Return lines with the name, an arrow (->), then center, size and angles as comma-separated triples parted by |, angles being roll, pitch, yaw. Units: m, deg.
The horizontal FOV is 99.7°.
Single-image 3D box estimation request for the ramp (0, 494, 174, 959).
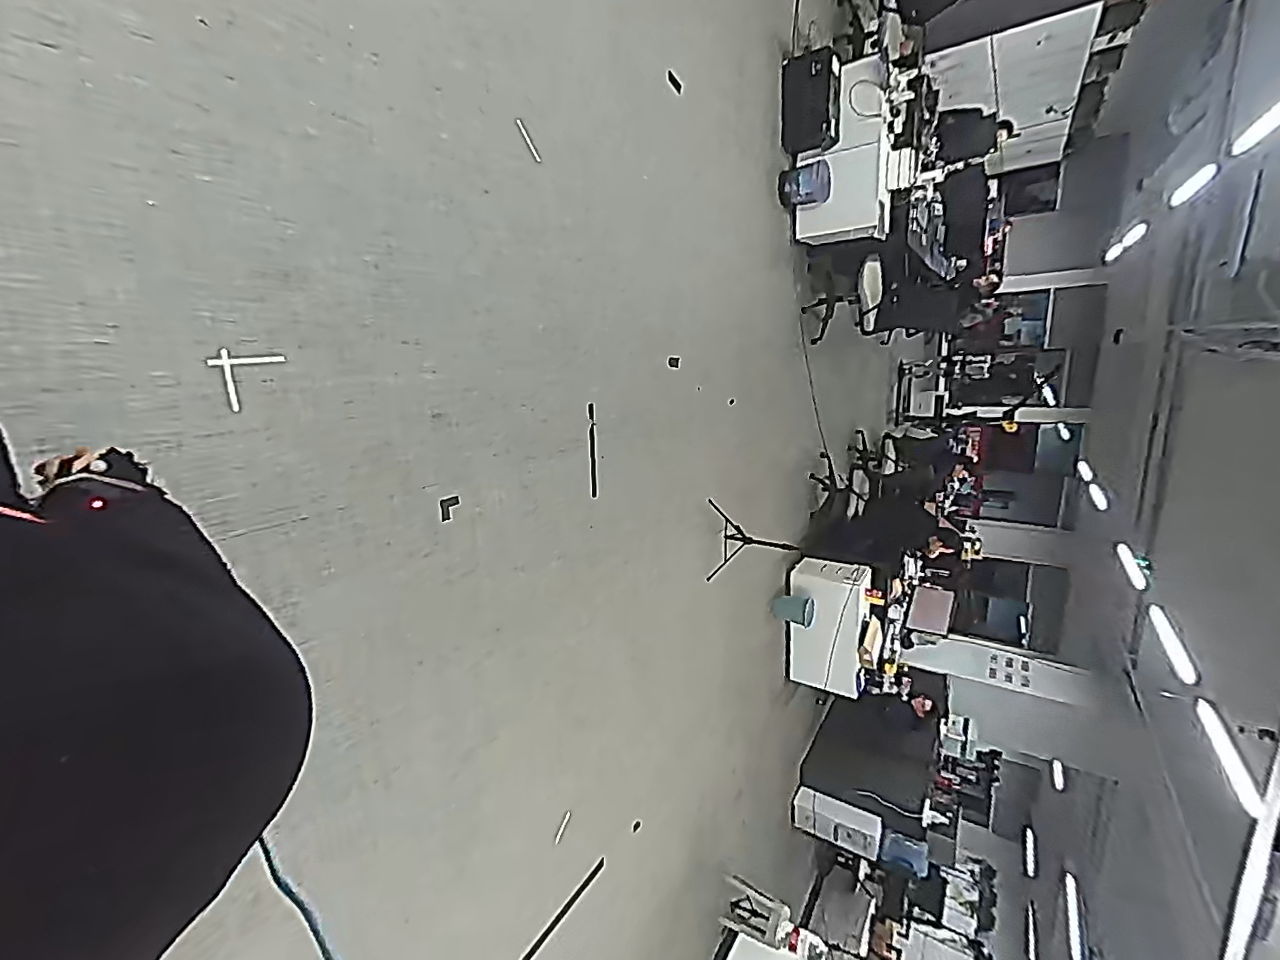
ramp -> -1.127, 0.555, 0.797 | 0.509, 0.206, 0.991 | -23, 111, -51
